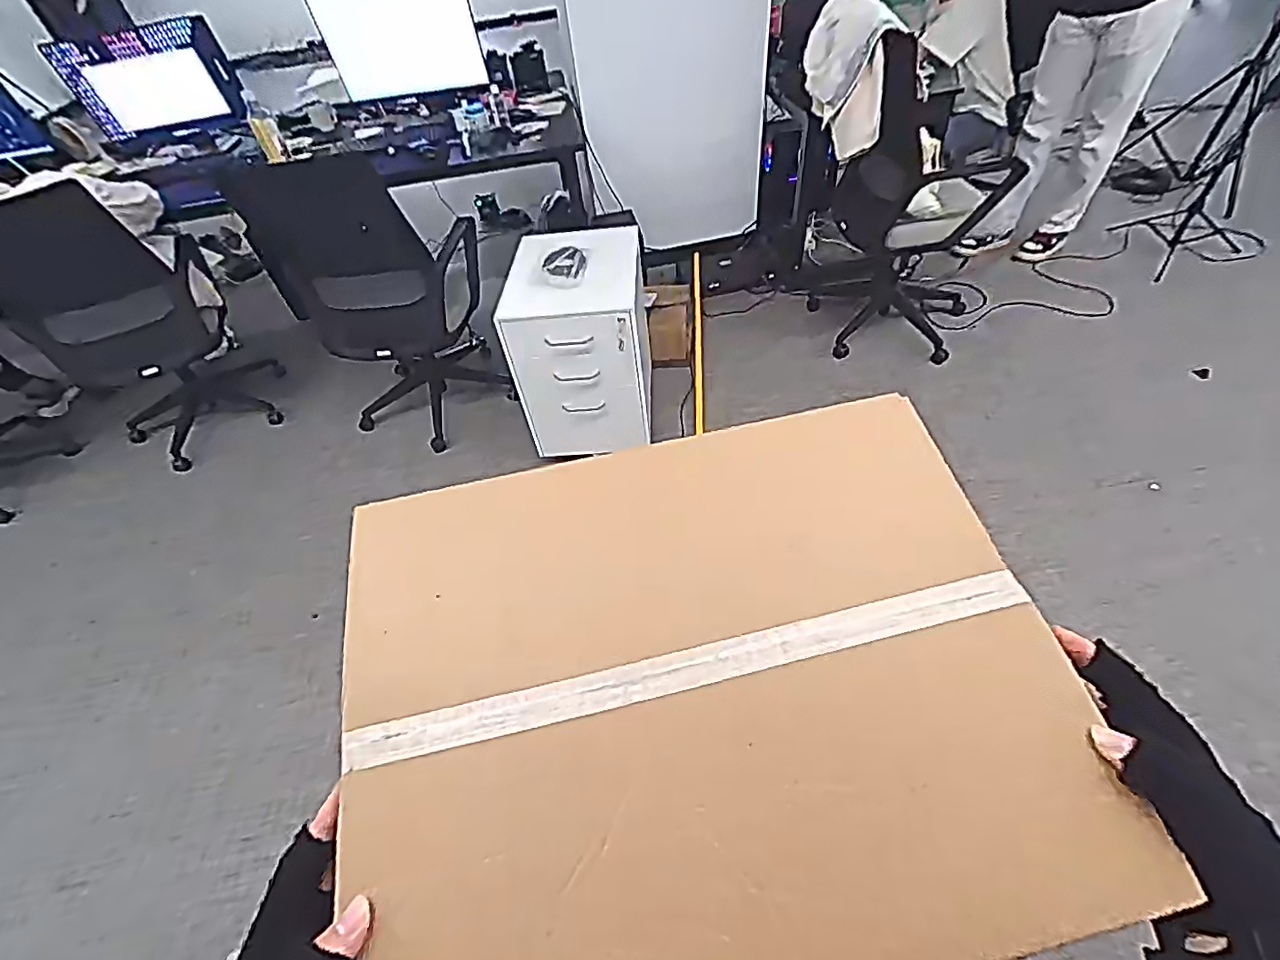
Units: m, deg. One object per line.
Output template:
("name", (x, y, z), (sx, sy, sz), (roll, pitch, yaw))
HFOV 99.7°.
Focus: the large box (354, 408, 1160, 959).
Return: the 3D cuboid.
("large box", (0.042, 0.190, 0.452), (0.408, 0.320, 0.320), (-13, 60, -4))
